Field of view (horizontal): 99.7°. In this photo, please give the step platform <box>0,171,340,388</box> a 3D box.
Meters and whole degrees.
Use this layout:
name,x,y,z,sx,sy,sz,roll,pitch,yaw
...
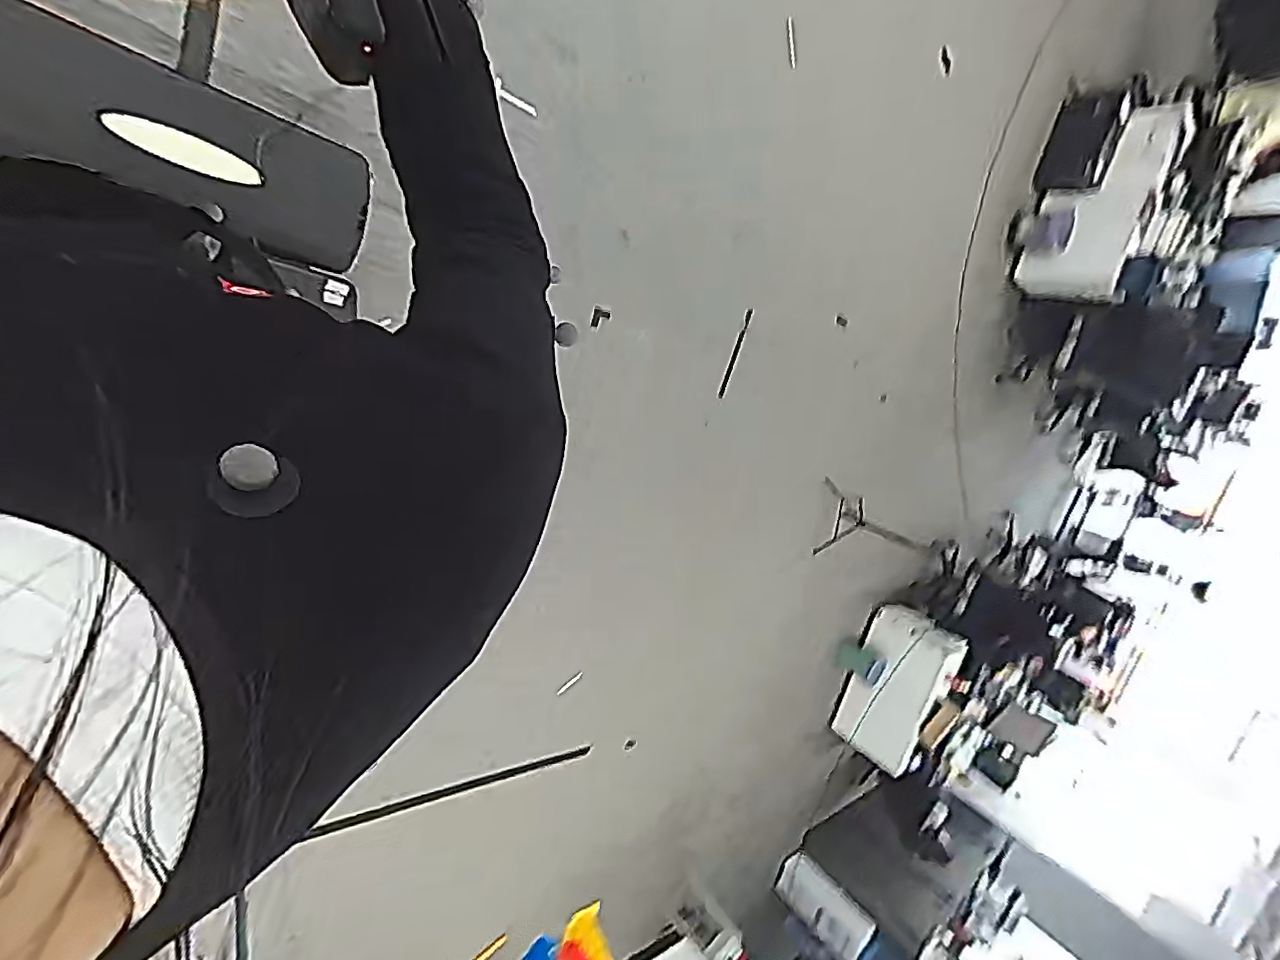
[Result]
name,x,y,z,sx,sy,sz,roll,pitch,yaw
step platform,-1.010,-0.394,1.116,0.684,0.204,0.286,7,104,-40
